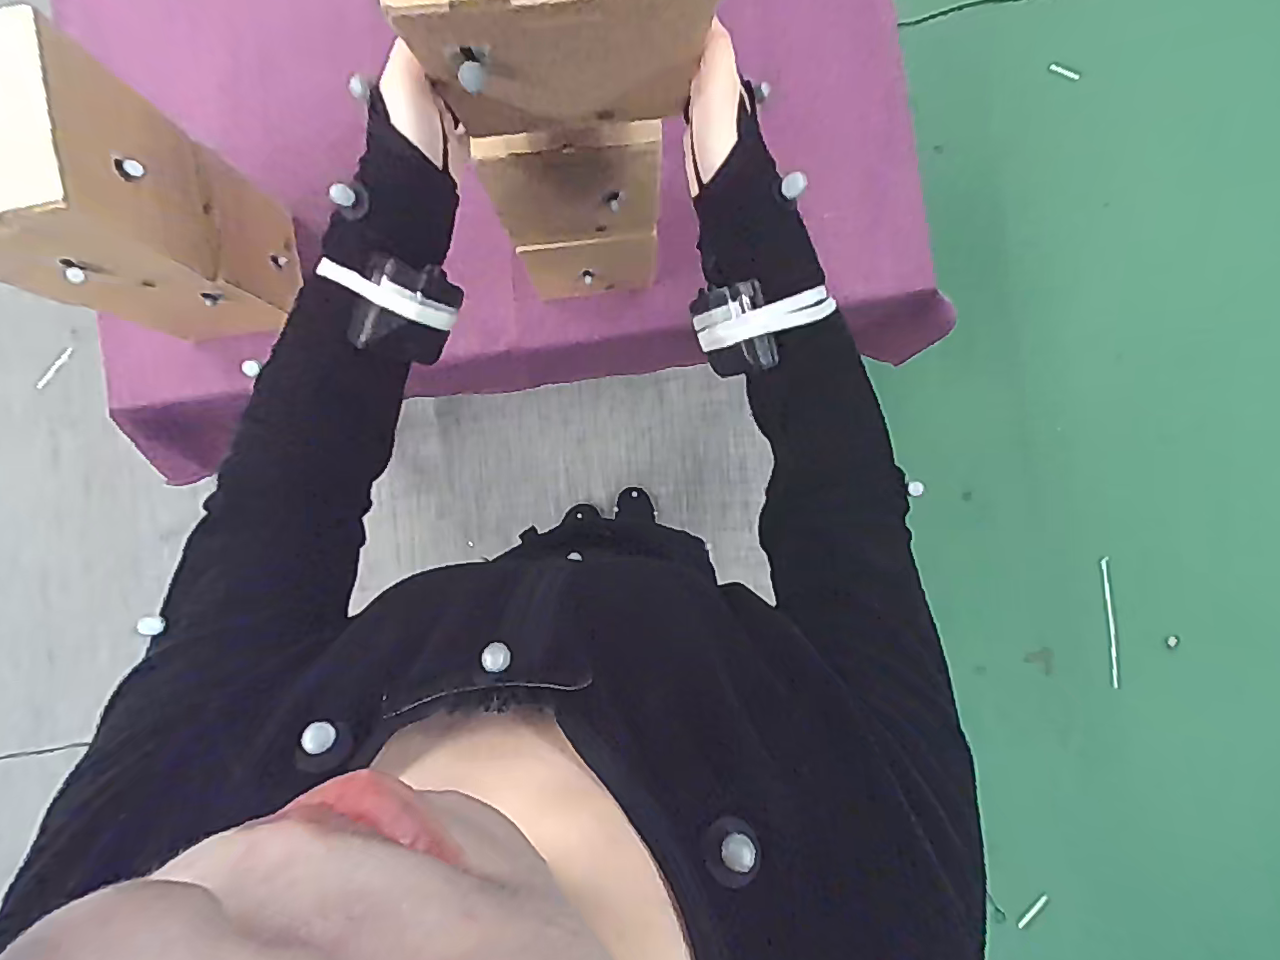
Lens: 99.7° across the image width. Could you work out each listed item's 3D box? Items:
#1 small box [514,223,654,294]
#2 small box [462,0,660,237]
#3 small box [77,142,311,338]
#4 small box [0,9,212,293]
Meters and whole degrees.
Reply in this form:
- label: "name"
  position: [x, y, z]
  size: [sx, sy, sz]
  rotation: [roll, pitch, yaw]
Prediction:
- label: "small box"
  position: [-0.071, -0.356, 0.707]
  size: [0.168, 0.176, 0.179]
  rotation: [-7, 89, -1]
- label: "small box"
  position: [-0.069, -0.363, 0.544]
  size: [0.168, 0.176, 0.179]
  rotation: [-5, 88, -1]
- label: "small box"
  position: [-0.571, -0.295, 0.701]
  size: [0.179, 0.176, 0.168]
  rotation: [-10, 89, -2]
- label: "small box"
  position: [-0.573, -0.301, 0.537]
  size: [0.168, 0.176, 0.179]
  rotation: [-10, 89, -2]
